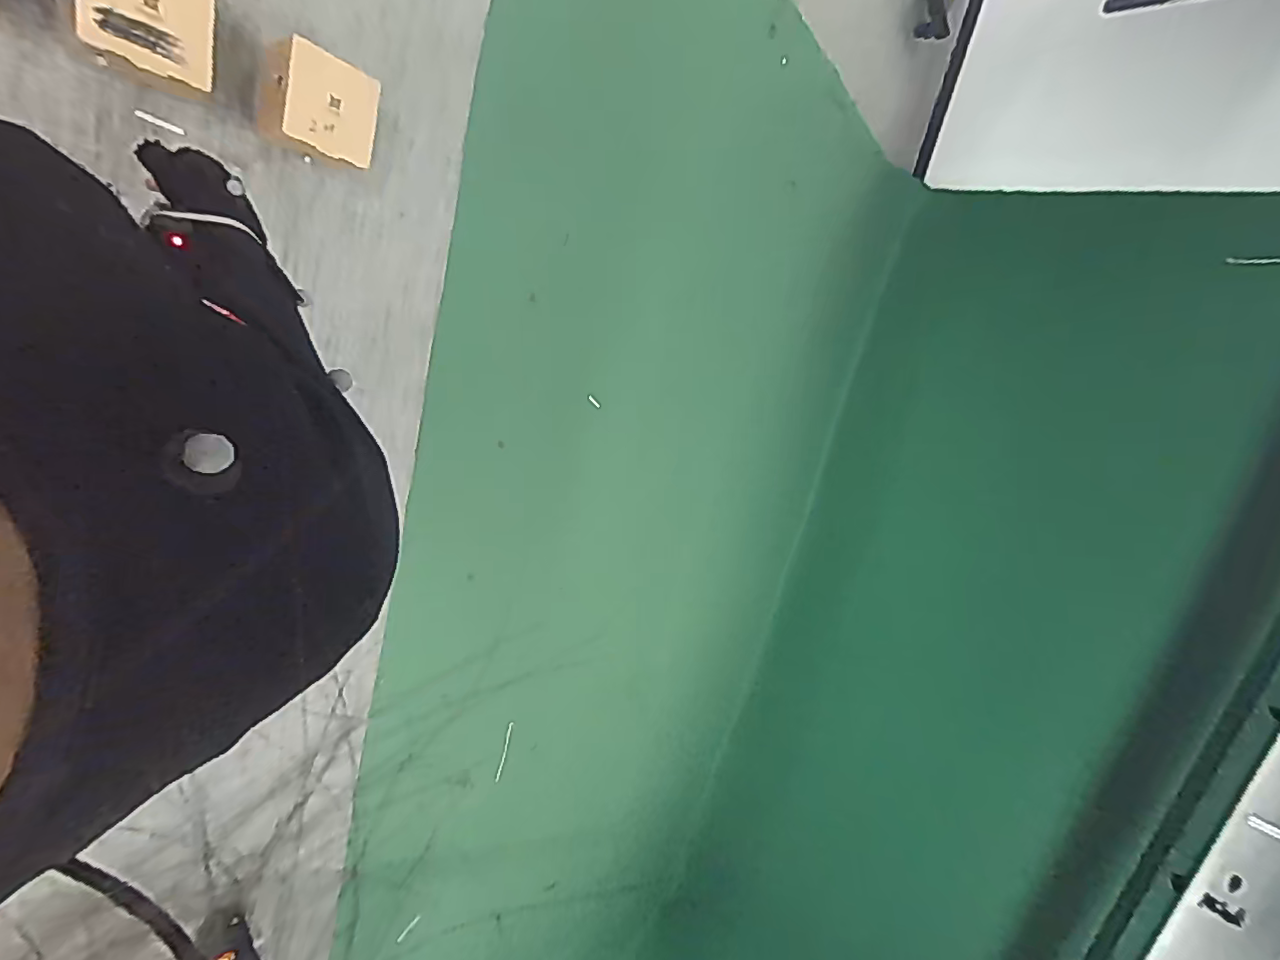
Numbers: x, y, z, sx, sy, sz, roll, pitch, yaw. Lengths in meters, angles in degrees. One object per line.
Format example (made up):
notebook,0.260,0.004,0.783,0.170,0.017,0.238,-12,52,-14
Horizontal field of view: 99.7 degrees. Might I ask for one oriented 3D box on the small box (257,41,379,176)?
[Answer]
small box,-0.680,-0.767,1.137,0.168,0.176,0.179,2,108,-50
